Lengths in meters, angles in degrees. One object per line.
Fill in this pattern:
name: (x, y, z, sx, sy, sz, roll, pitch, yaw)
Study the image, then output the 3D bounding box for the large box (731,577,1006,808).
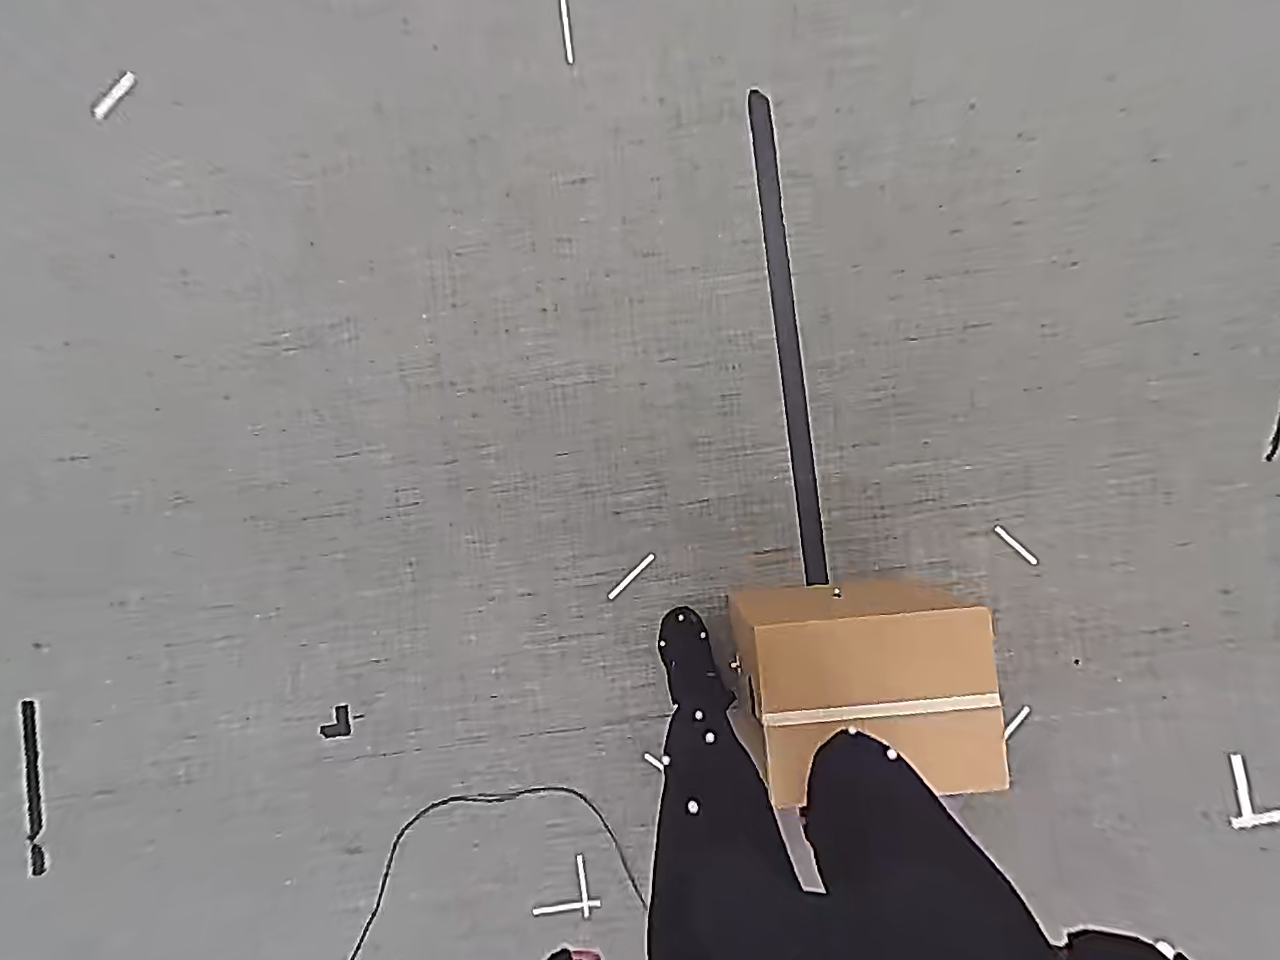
large box: (0.413, 0.389, 1.069, 0.408, 0.320, 0.320, -6, 89, 1)
